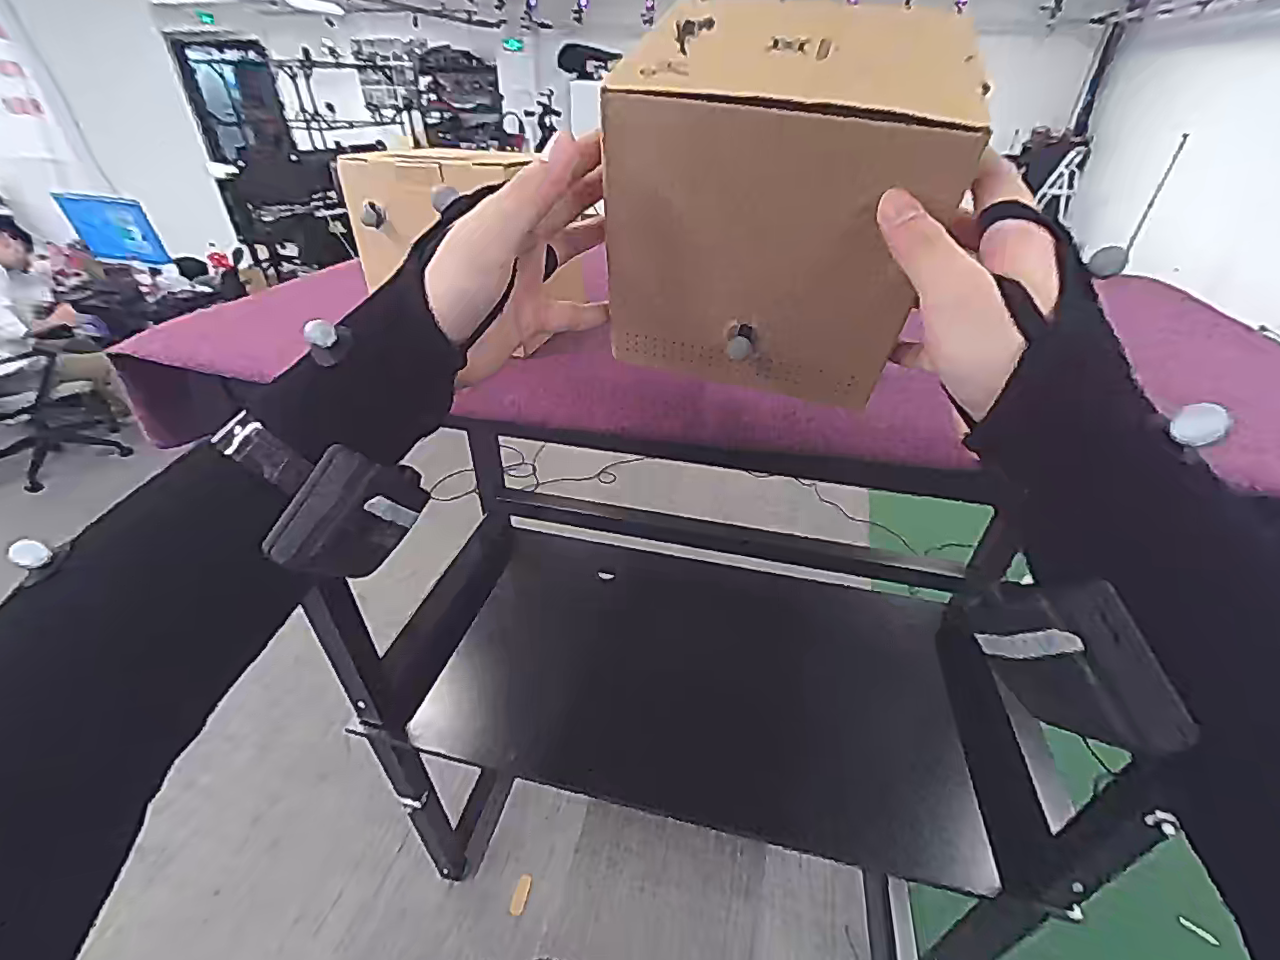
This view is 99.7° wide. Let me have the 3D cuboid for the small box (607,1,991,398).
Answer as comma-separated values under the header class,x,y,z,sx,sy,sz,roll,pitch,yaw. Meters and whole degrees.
class,x,y,z,sx,sy,sz,roll,pitch,yaw
small box,0.088,-0.176,0.353,0.179,0.176,0.168,14,53,10
